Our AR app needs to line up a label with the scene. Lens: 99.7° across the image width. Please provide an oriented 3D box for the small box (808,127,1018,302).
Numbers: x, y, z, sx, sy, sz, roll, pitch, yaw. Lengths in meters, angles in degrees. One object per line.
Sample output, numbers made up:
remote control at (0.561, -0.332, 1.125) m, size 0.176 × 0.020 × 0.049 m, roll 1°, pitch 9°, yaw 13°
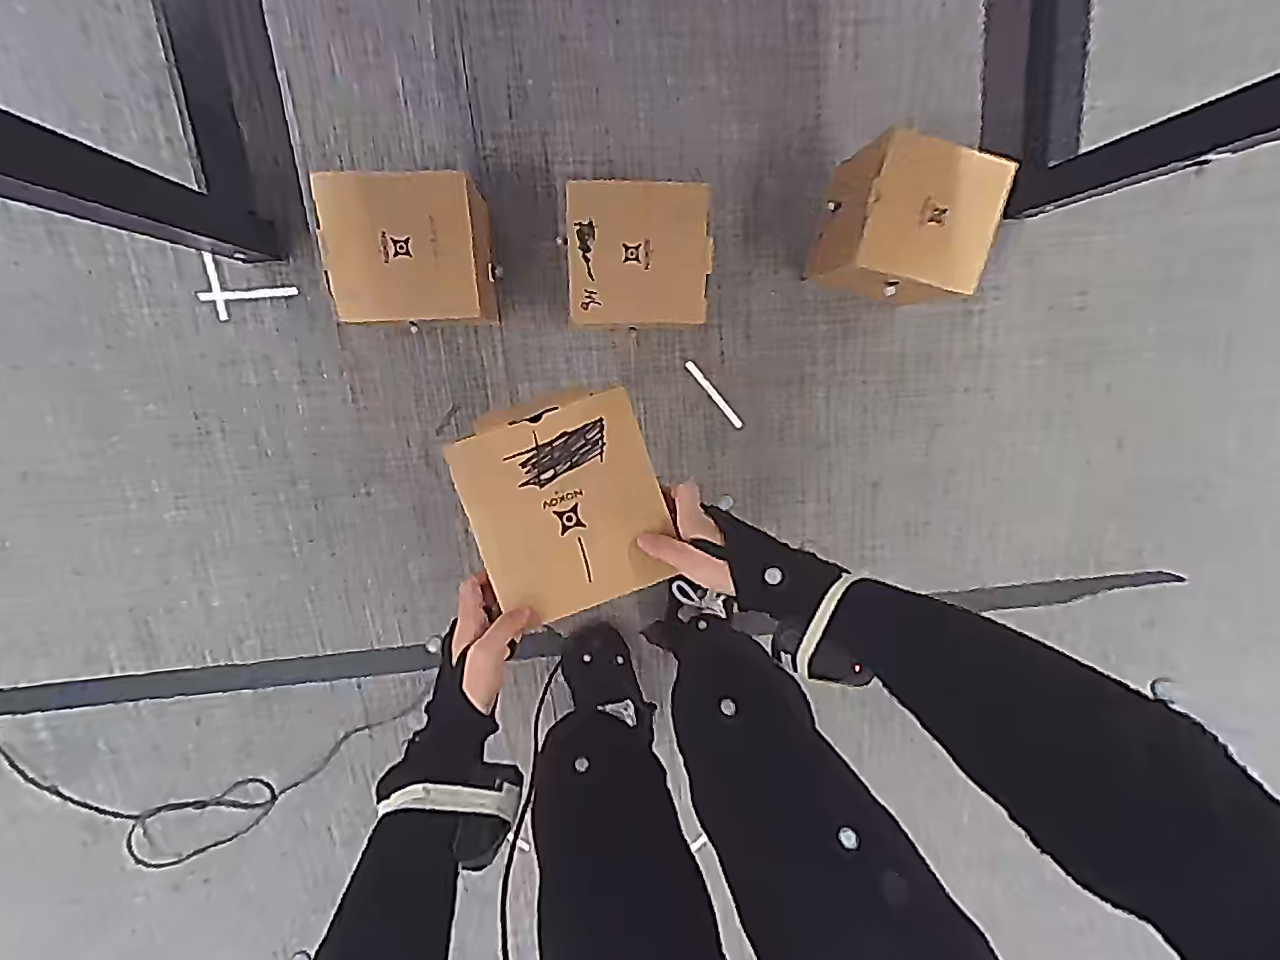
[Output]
small box at (0.366, -0.354, 0.758) m, size 0.179 × 0.176 × 0.168 m, roll 11°, pitch 102°, yaw -7°

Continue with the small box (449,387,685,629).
small box at (-0.069, 0.024, 0.551) m, size 0.168 × 0.176 × 0.179 m, roll -19°, pitch 92°, yaw -3°

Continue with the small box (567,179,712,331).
small box at (-0.009, -0.293, 0.735) m, size 0.179 × 0.176 × 0.168 m, roll -1°, pitch 104°, yaw -6°

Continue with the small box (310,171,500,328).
small box at (-0.291, -0.289, 0.708) m, size 0.179 × 0.176 × 0.168 m, roll -3°, pitch 104°, yaw -6°
